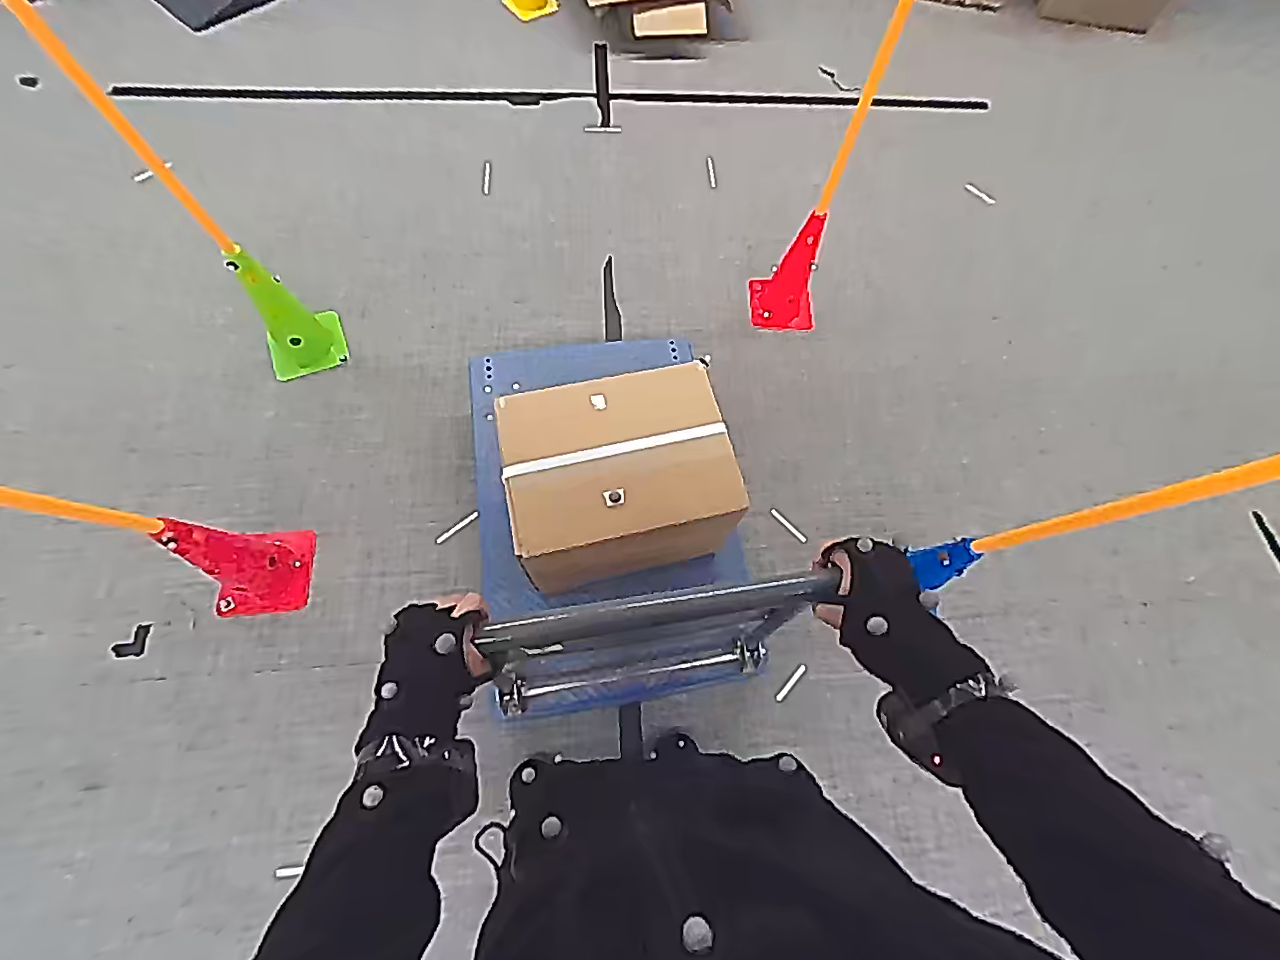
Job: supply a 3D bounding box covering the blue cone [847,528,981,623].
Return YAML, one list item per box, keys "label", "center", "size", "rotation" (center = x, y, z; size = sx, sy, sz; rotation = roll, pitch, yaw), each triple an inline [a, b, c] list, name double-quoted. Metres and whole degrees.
- label: "blue cone"
  center: [0.655, 0.199, 1.243]
  size: [0.193, 0.380, 0.192]
  rotation: [-6, 66, -7]

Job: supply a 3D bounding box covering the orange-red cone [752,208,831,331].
- label: "orange-red cone"
  center: [0.470, -0.630, 1.572]
  size: [0.199, 0.360, 0.198]
  rotation: [4, 67, -3]
